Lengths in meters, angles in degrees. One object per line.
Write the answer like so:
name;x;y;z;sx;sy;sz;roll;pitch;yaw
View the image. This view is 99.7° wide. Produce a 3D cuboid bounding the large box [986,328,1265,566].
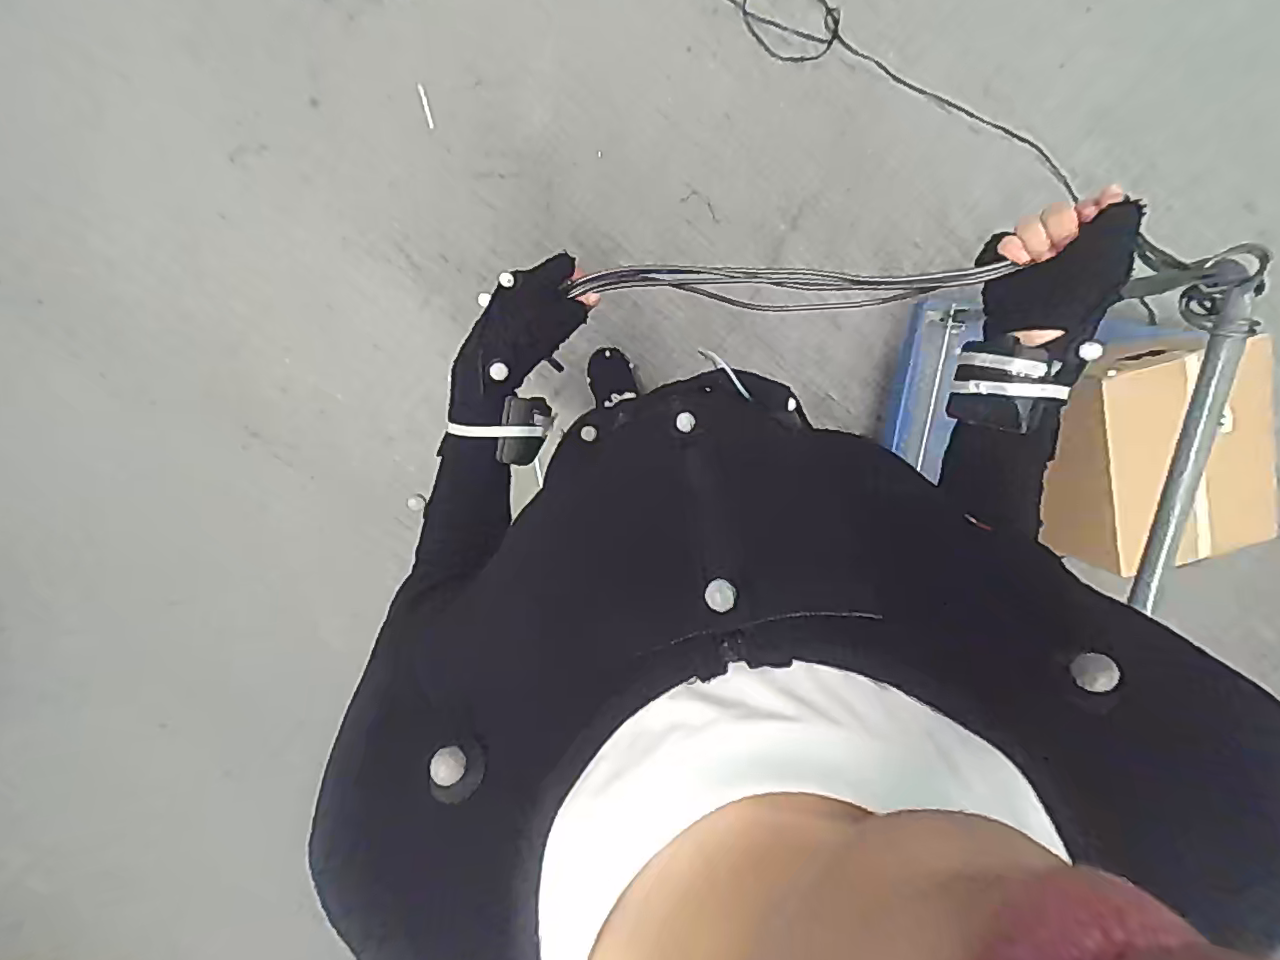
large box;1.024;-0.080;1.176;0.320;0.320;0.408;-16;101;0
